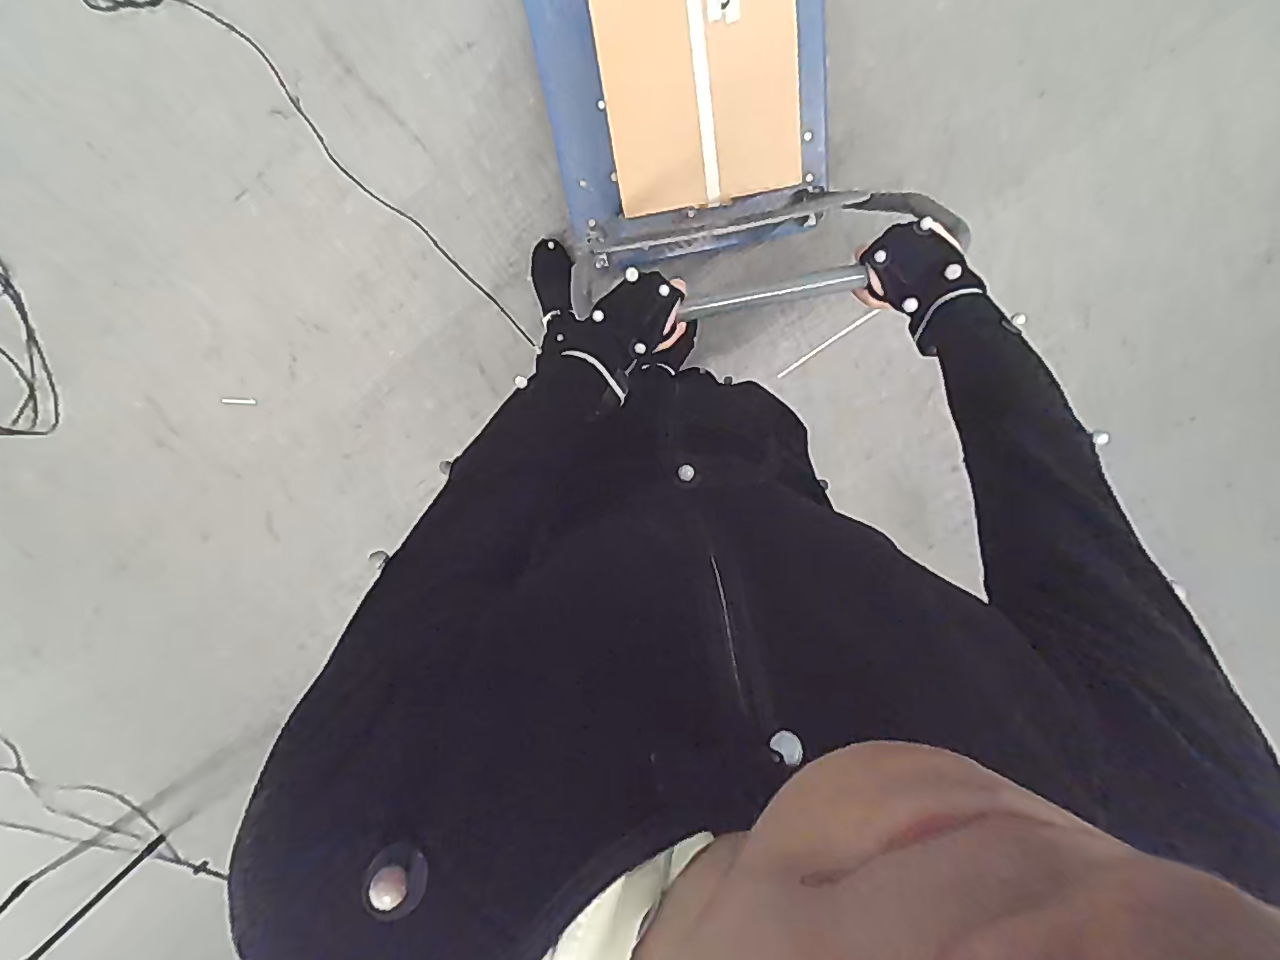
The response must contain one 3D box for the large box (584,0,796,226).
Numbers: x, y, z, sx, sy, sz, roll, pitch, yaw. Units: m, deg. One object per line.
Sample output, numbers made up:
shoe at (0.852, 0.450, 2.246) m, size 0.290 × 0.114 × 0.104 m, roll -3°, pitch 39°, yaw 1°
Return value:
large box at (0.089, -0.724, 1.015) m, size 0.320 × 0.320 × 0.408 m, roll -9°, pitch 114°, yaw 4°
